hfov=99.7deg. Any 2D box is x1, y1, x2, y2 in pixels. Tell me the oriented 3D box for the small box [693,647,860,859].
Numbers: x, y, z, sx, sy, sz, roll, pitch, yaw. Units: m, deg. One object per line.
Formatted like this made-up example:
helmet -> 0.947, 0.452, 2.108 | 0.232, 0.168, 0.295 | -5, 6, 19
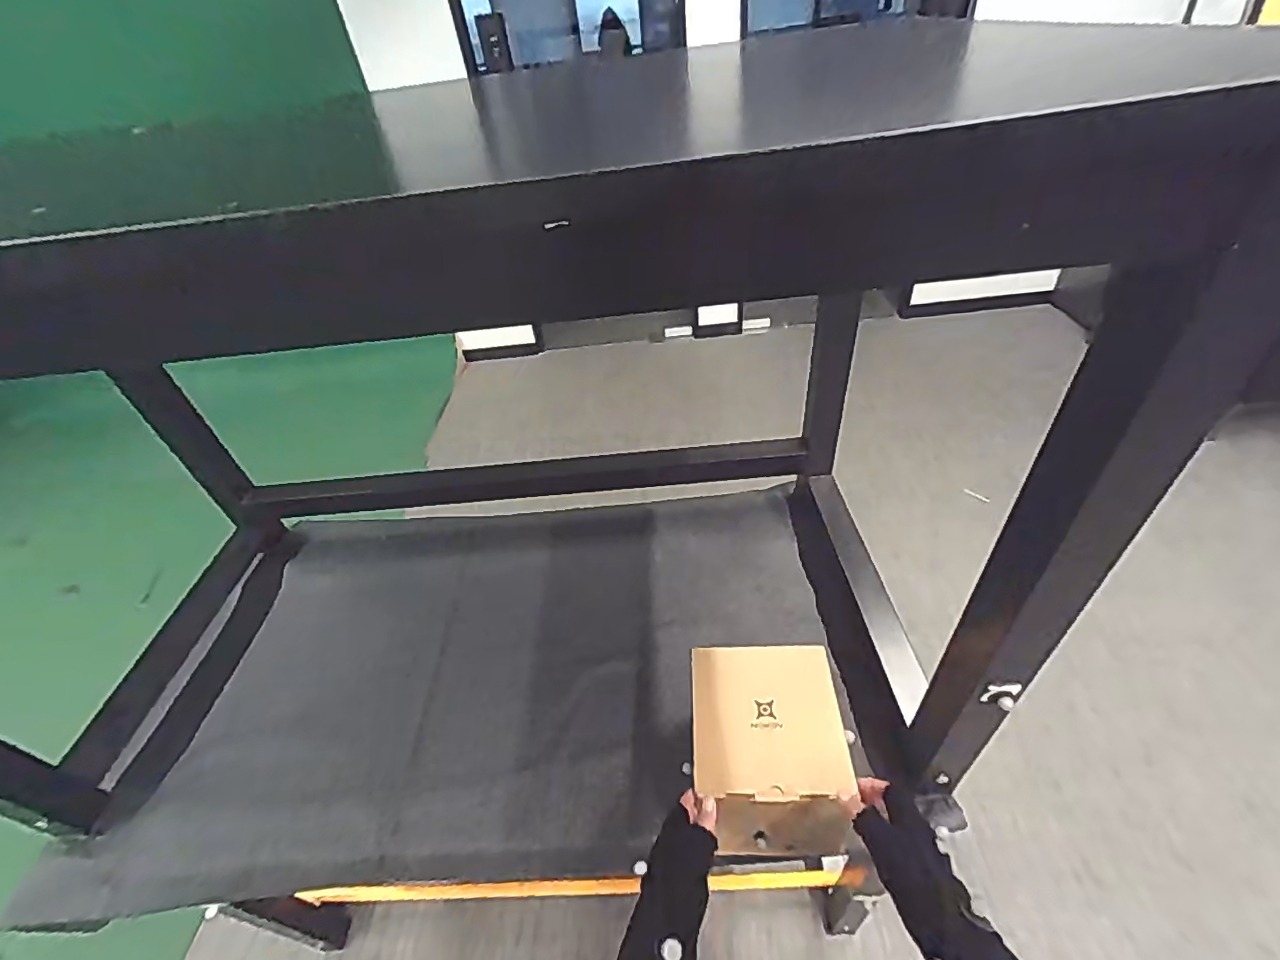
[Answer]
small box -> 0.149, 0.324, 0.653 | 0.168, 0.176, 0.179 | -3, 39, 6
